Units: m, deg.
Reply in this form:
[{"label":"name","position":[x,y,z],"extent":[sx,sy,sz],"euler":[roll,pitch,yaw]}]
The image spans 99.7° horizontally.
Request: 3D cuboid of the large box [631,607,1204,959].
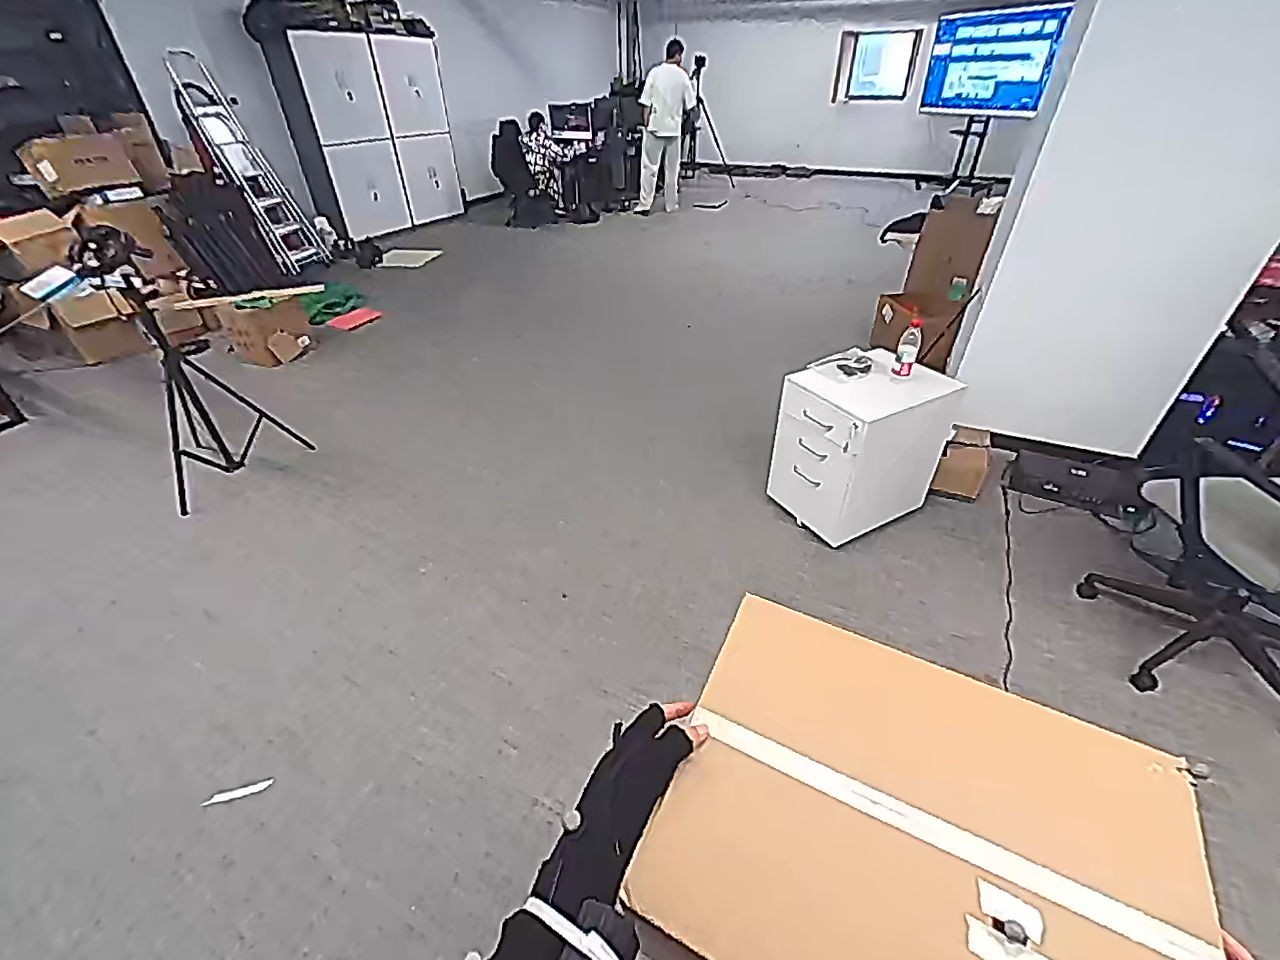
[{"label":"large box","position":[0.234,0.402,0.561],"extent":[0.408,0.320,0.320],"euler":[19,48,20]}]
